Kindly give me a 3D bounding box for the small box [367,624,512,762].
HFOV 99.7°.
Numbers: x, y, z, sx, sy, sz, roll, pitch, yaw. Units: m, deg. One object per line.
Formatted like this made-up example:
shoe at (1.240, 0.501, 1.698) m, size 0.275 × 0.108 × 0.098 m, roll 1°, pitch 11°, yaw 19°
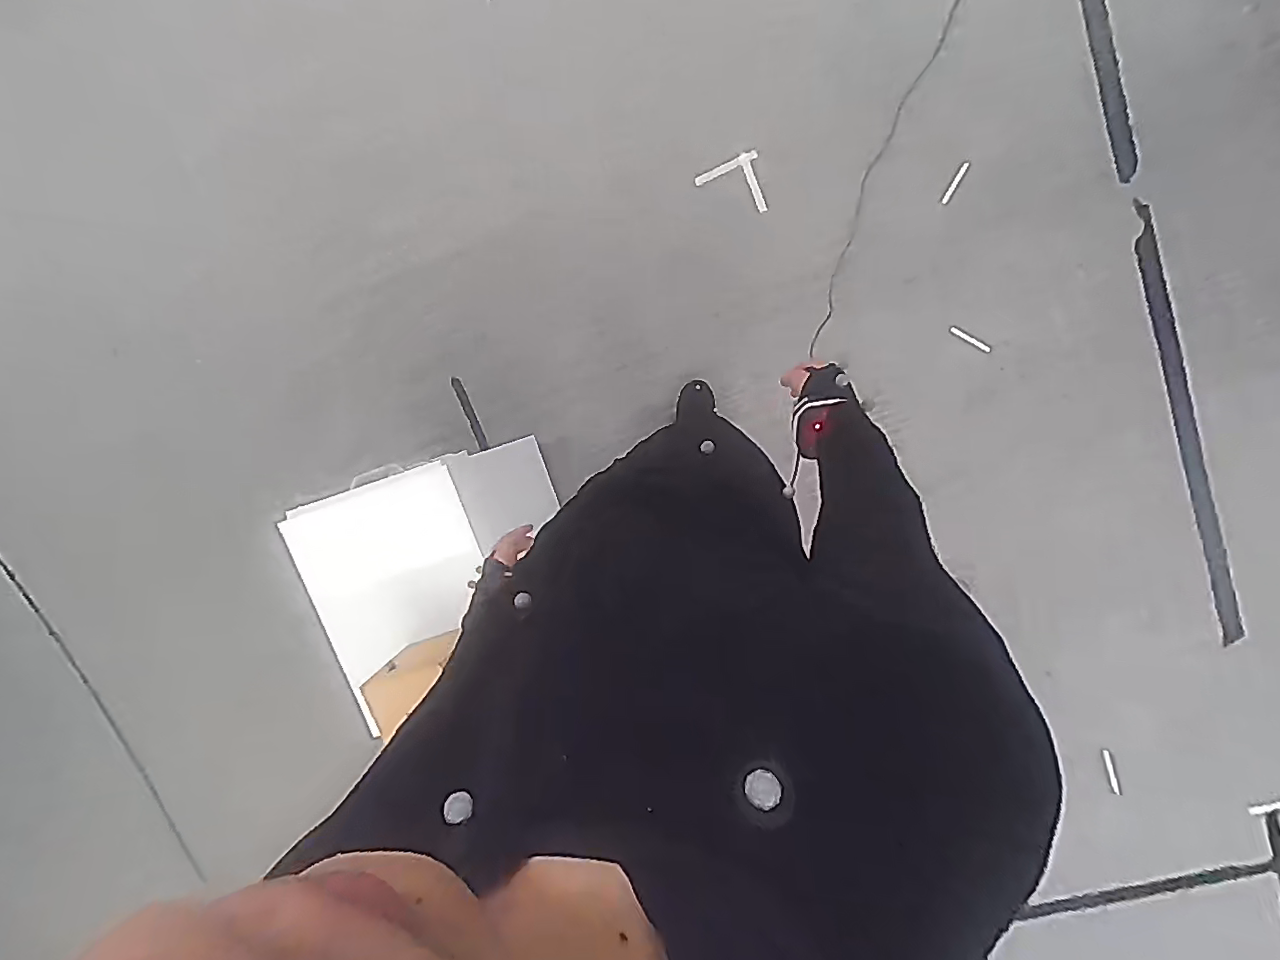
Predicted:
small box at (-0.378, 0.404, 1.046) m, size 0.179 × 0.176 × 0.168 m, roll -19°, pitch 98°, yaw 11°
